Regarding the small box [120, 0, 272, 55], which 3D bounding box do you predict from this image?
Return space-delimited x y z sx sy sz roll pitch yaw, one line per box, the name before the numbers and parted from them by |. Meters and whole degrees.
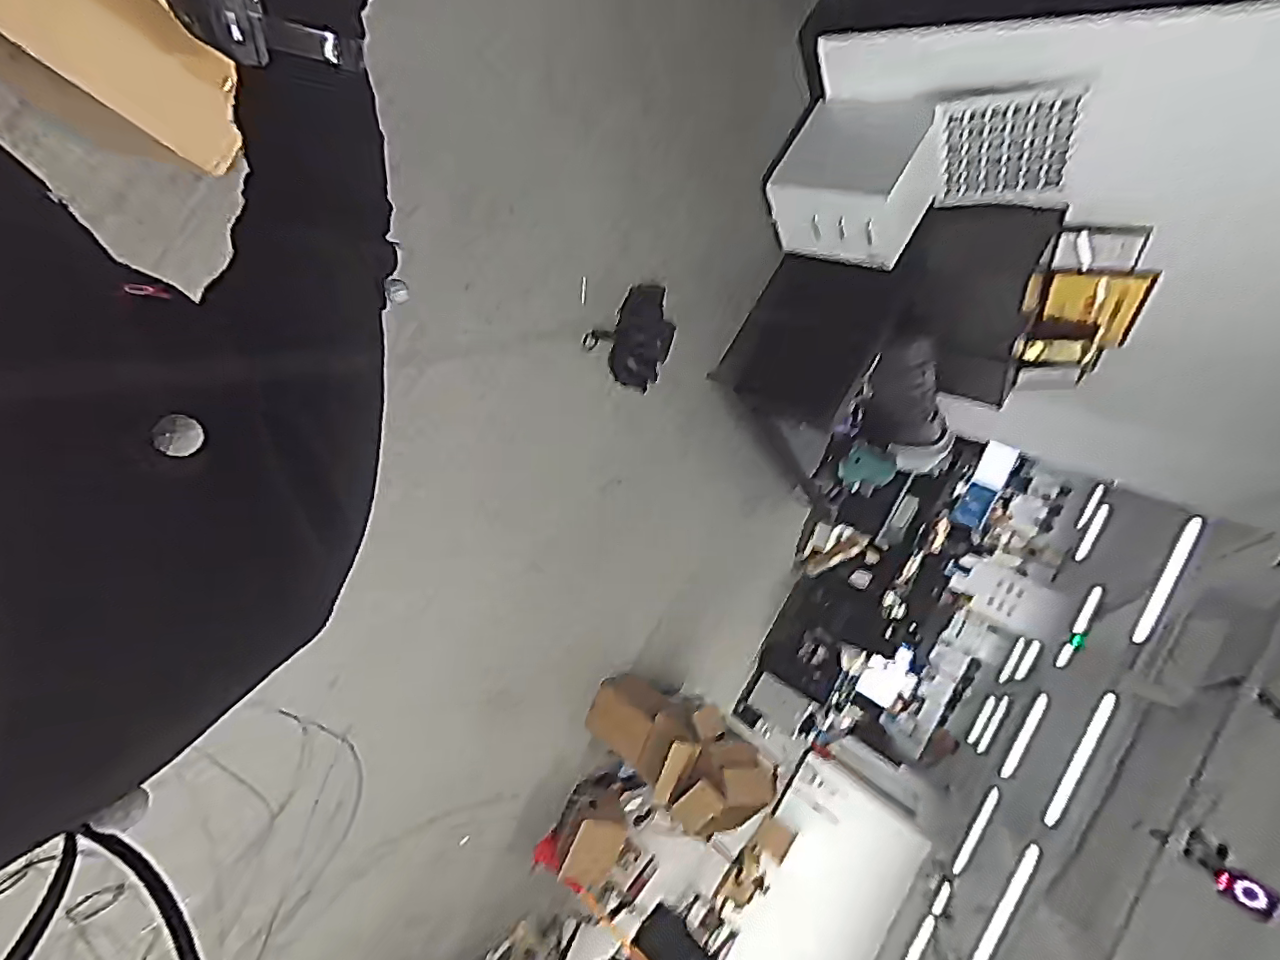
small box | -0.422 -0.510 0.465 0.168 0.176 0.179 -56 146 -2
